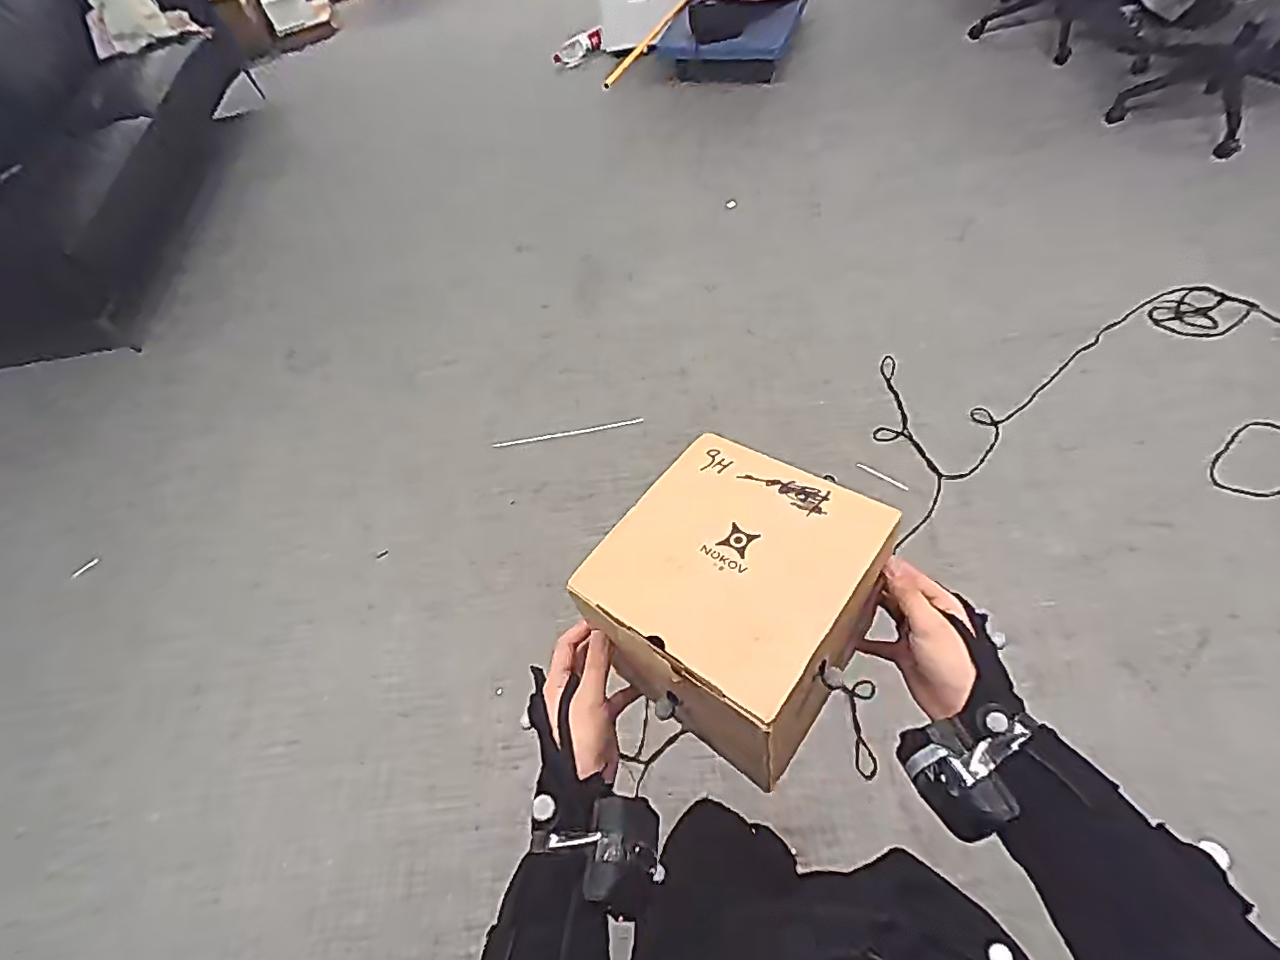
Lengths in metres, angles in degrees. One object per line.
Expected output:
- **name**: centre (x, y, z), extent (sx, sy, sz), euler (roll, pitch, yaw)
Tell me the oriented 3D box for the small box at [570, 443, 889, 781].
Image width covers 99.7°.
- **small box**: centre (0.078, 0.107, 0.442), extent (0.168, 0.176, 0.179), euler (27, 61, 33)
